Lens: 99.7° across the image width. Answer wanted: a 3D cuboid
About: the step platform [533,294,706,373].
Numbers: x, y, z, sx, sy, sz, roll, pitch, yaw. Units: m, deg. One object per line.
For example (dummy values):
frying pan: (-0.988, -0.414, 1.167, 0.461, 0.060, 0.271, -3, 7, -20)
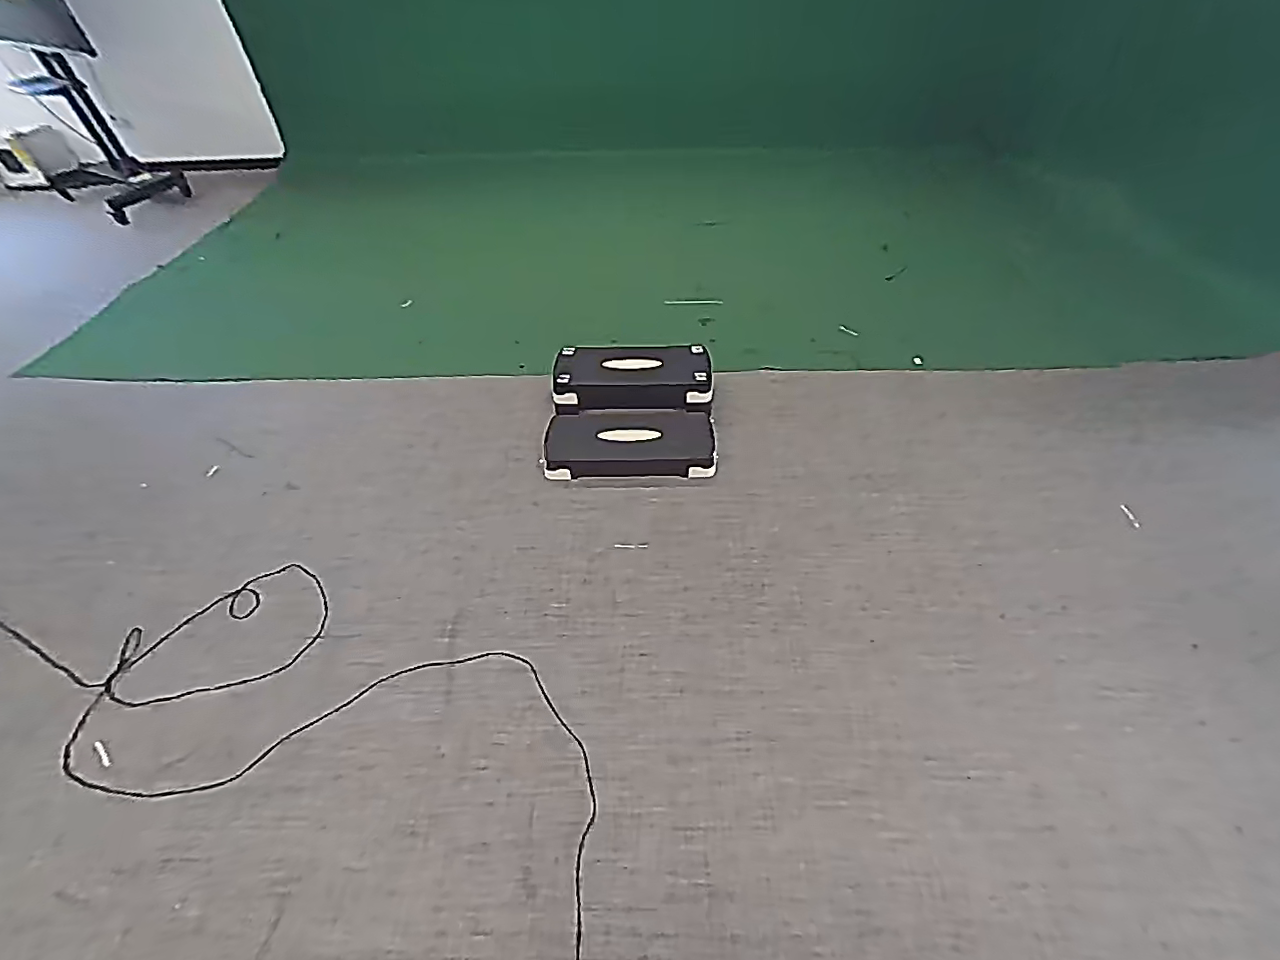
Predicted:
step platform: (-0.078, -0.594, 2.201, 0.684, 0.204, 0.286, -1, 47, 2)
